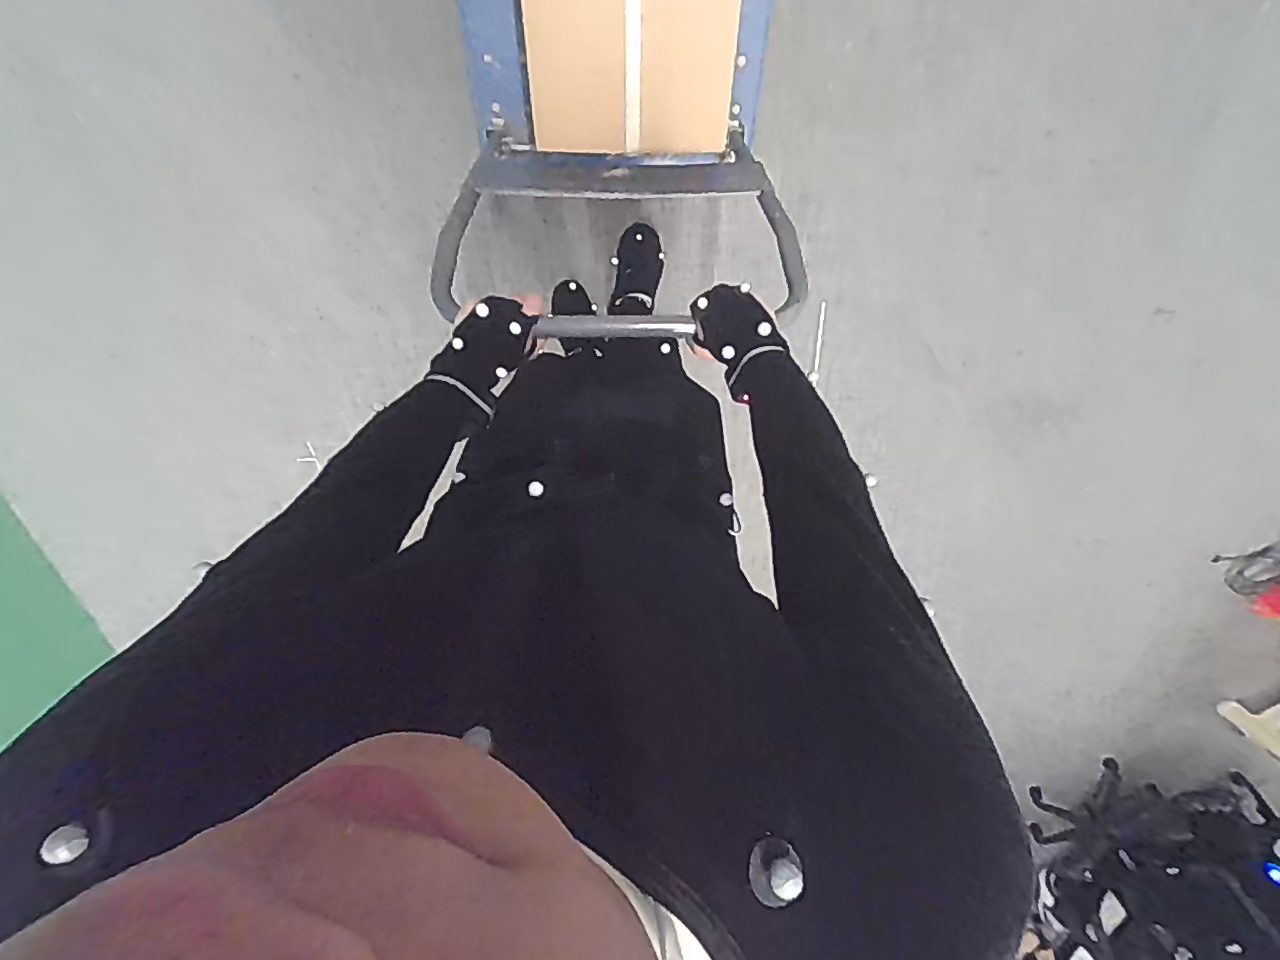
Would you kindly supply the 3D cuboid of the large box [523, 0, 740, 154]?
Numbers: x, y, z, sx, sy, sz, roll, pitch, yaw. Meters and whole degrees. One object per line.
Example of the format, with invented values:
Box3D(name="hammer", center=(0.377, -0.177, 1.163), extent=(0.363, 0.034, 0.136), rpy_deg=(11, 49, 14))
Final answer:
Box3D(name="large box", center=(-0.015, -0.785, 0.867), extent=(0.320, 0.320, 0.408), rpy_deg=(-1, 133, -2))
